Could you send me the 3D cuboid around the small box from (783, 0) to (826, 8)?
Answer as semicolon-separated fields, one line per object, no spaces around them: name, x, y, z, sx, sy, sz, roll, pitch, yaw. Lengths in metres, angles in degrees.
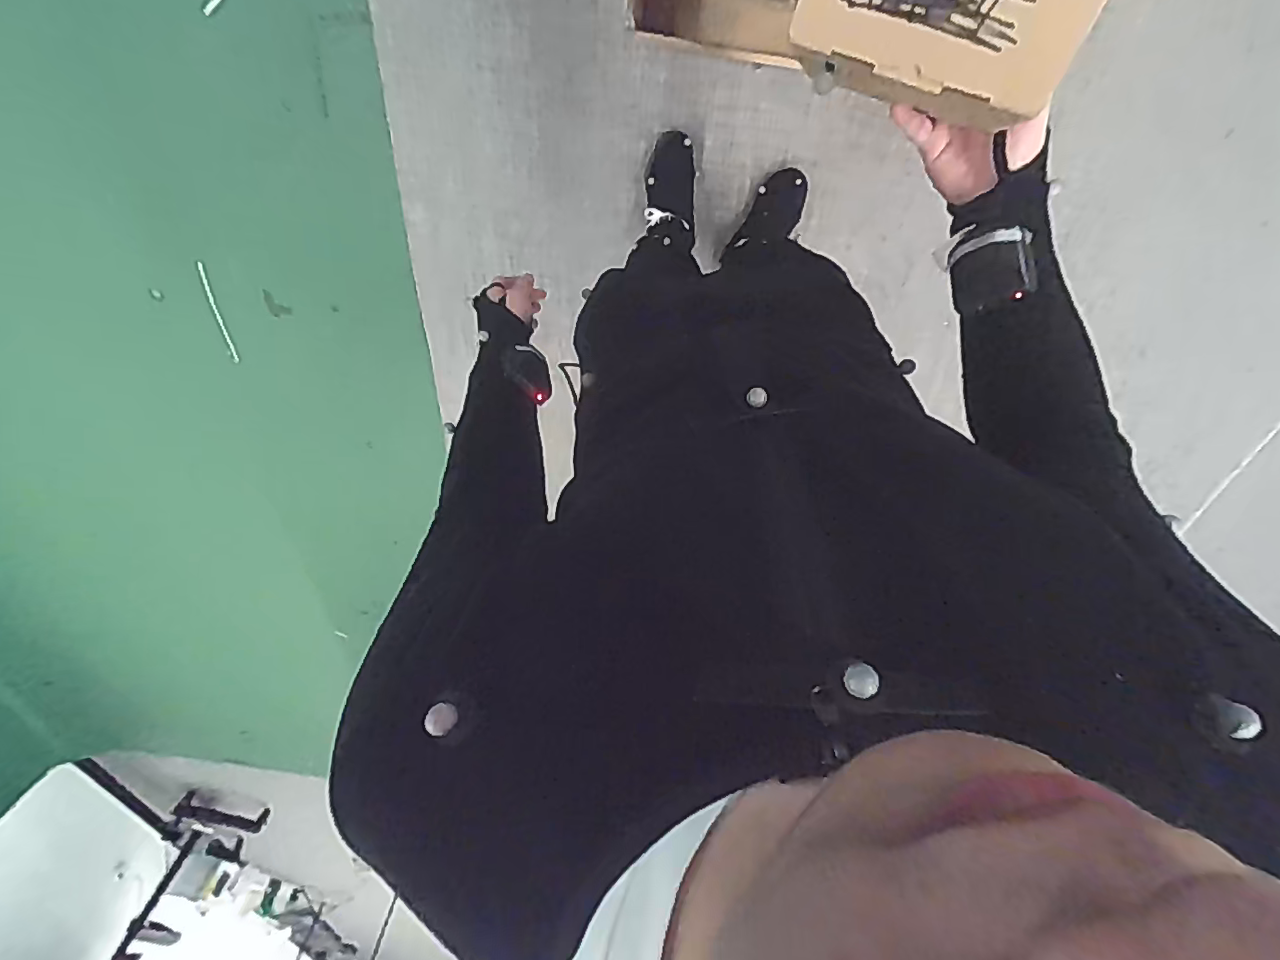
small box;0.160;-0.630;0.564;0.168;0.176;0.179;14;126;-4
